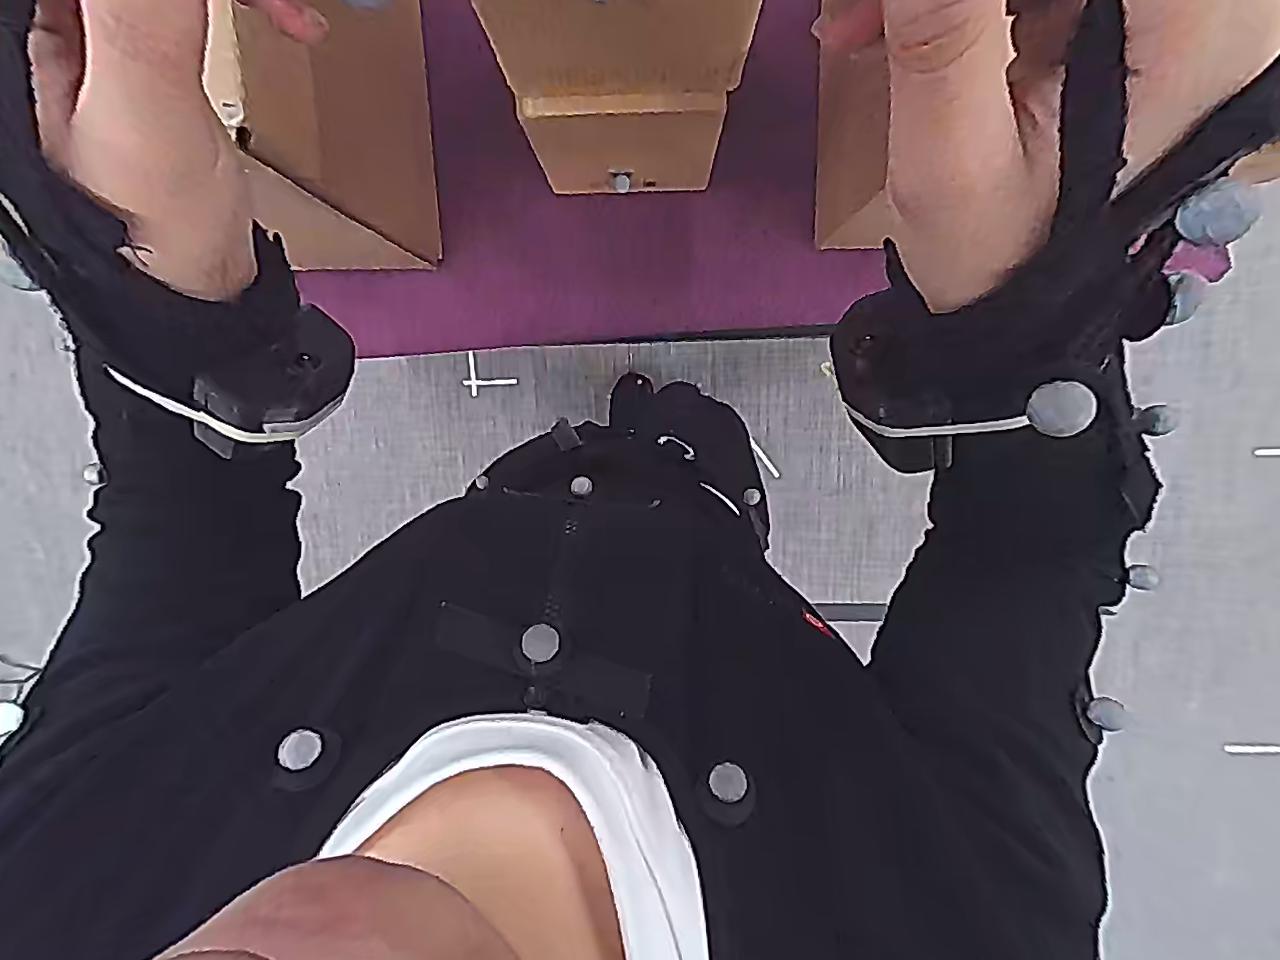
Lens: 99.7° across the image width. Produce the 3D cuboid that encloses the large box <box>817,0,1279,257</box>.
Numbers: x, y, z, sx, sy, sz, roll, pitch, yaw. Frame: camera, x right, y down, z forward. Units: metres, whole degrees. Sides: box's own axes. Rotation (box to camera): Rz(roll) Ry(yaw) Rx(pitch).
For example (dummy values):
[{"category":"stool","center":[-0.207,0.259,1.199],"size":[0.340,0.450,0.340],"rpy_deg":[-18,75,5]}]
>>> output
[{"category":"large box","center":[0.326,-0.421,0.404],"size":[0.320,0.320,0.408],"rpy_deg":[-2,98,1]}]

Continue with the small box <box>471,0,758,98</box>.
[{"category":"small box","center":[-0.013,-0.363,0.326],"size":[0.179,0.176,0.168],"rpy_deg":[-1,99,3]}]
